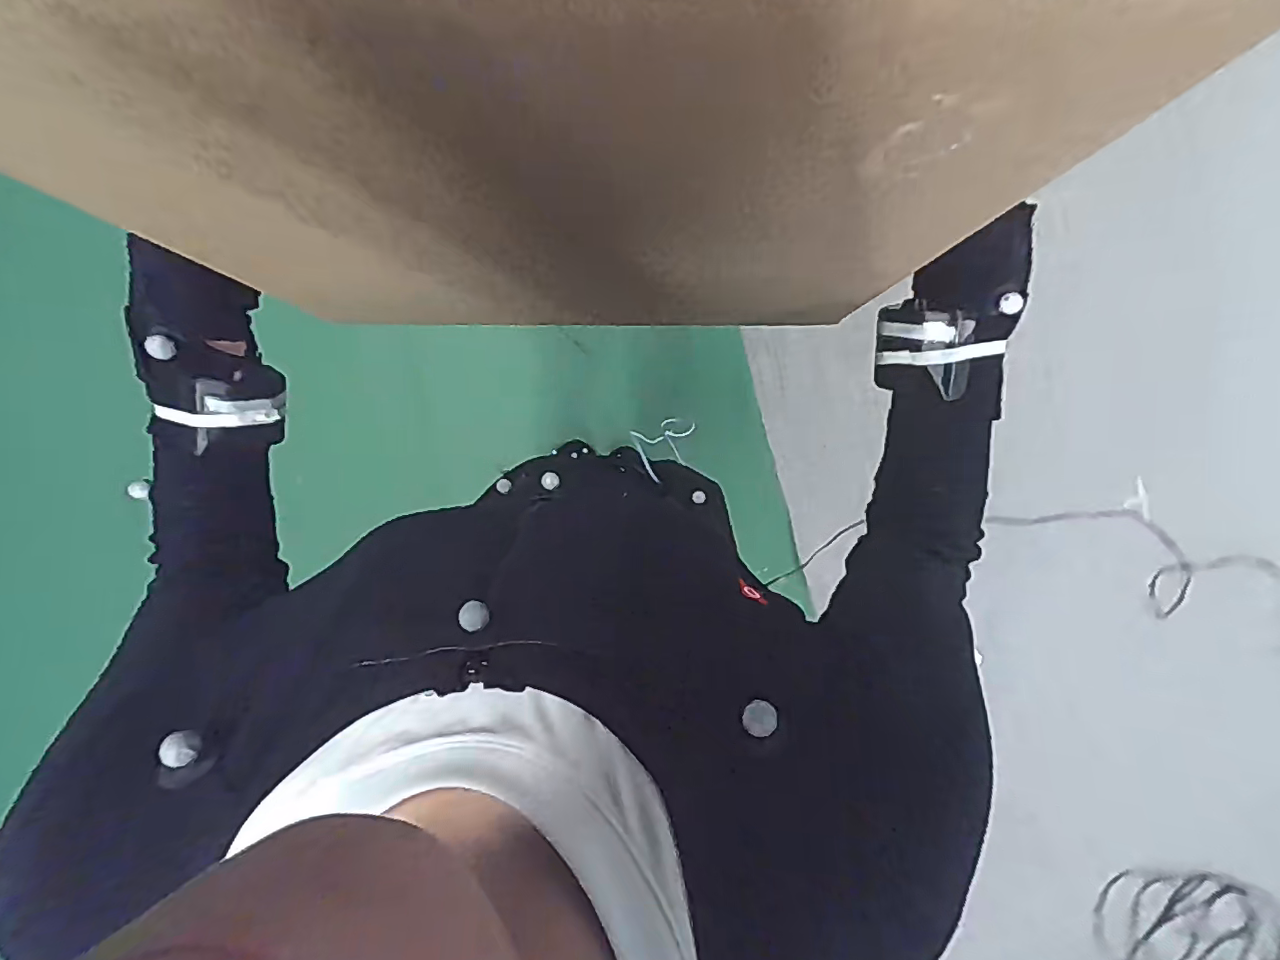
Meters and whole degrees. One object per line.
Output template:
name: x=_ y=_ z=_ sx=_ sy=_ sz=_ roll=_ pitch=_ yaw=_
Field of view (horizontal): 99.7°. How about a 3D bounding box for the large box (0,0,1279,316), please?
large box: x=-0.030 y=-0.279 z=0.275 sx=0.408 sy=0.320 sz=0.320 roll=1 pitch=93 yaw=-3
